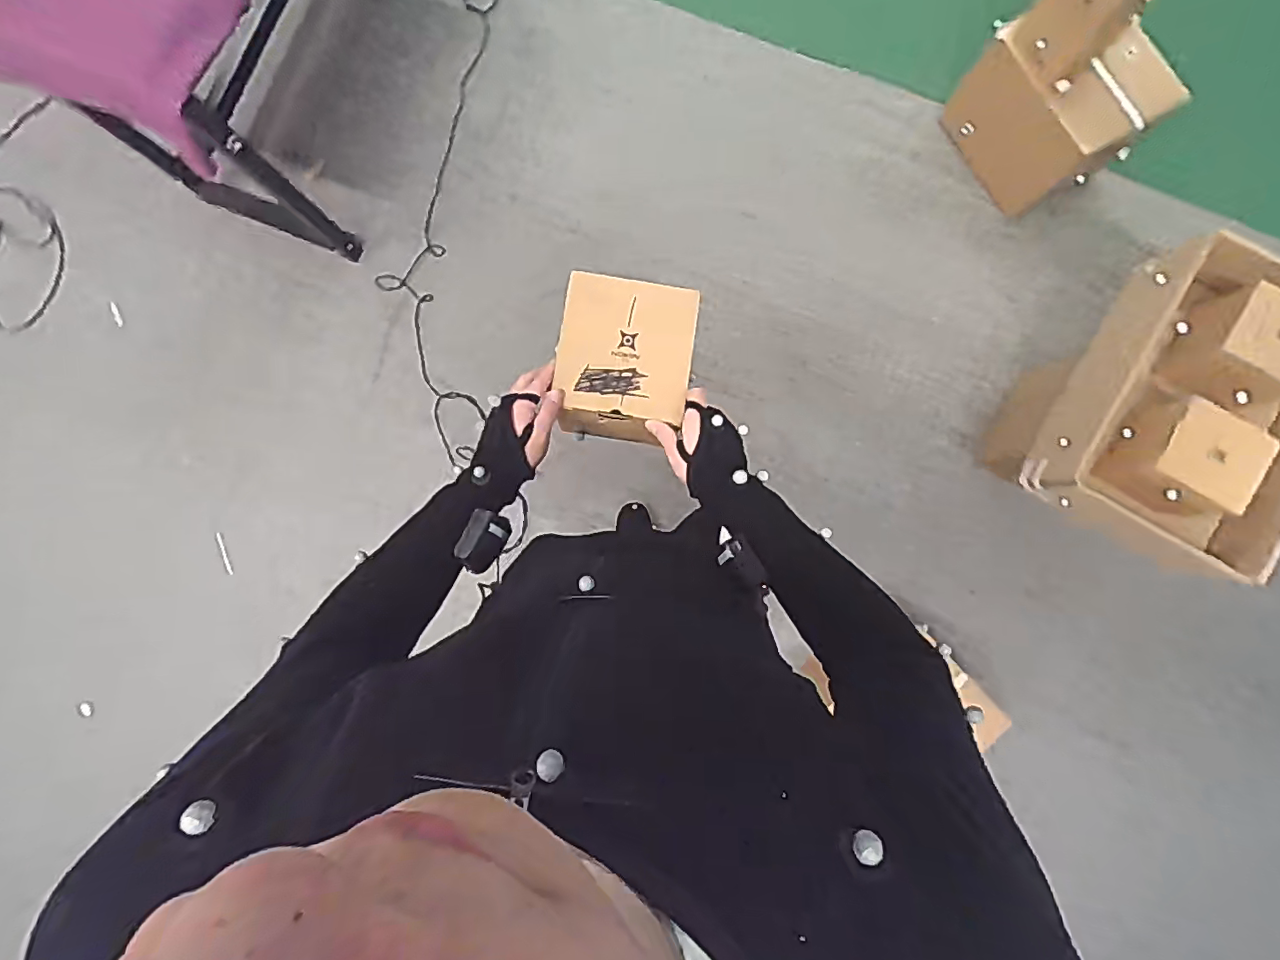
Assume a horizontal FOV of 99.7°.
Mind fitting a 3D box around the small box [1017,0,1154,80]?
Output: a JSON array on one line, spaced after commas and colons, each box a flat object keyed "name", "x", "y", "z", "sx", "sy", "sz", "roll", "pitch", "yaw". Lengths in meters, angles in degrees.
[{"name": "small box", "x": 1.064, "y": -1.122, "z": 1.292, "sx": 0.179, "sy": 0.176, "sz": 0.168, "roll": -31, "pitch": 85, "yaw": 1}]

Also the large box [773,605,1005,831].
[{"name": "large box", "x": 0.625, "y": 0.595, "z": 1.432, "sx": 0.408, "sy": 0.320, "sz": 0.320, "roll": -42, "pitch": 86, "yaw": -2}]

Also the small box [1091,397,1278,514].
[{"name": "small box", "x": 1.101, "y": -0.044, "z": 1.109, "sx": 0.179, "sy": 0.176, "sz": 0.168, "roll": 32, "pitch": 87, "yaw": 5}]

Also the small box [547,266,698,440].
[{"name": "small box", "x": -0.023, "y": -0.158, "z": 0.735, "sx": 0.168, "sy": 0.176, "sz": 0.179, "roll": 7, "pitch": 83, "yaw": -2}]
